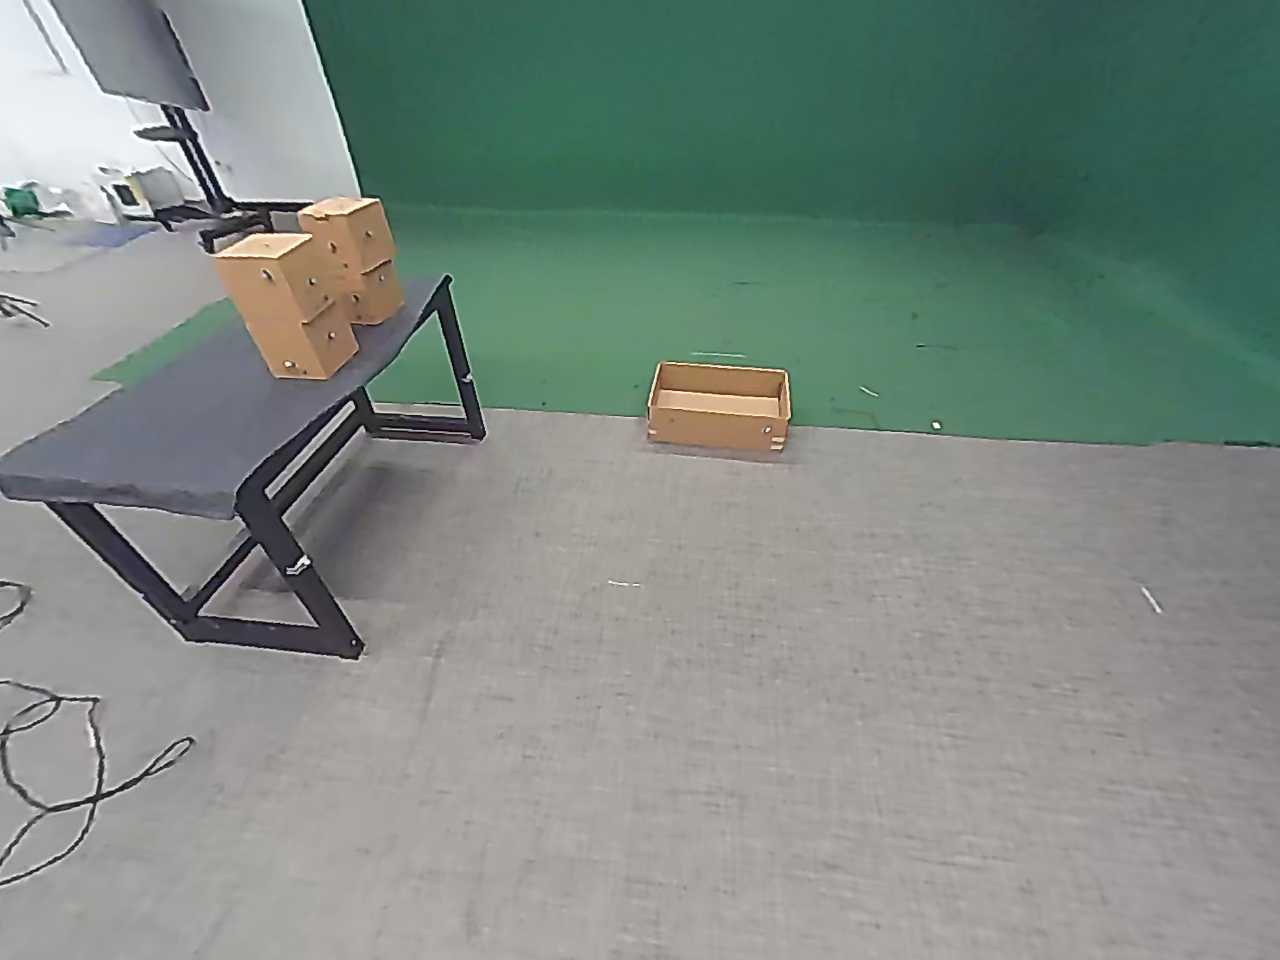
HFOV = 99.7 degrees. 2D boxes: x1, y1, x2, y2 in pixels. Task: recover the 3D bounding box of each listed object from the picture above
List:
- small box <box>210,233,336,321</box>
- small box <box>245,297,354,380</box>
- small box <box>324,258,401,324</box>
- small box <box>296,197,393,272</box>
[{"bbox_3d":[-0.926,-0.519,1.388,0.179,0.176,0.168,3,42,6],"label":"small box"},{"bbox_3d":[-0.930,-0.398,1.500,0.168,0.176,0.179,4,43,7],"label":"small box"},{"bbox_3d":[-0.907,-0.622,1.755,0.168,0.176,0.179,7,41,8],"label":"small box"},{"bbox_3d":[-0.891,-0.751,1.653,0.168,0.176,0.179,9,43,10],"label":"small box"}]
